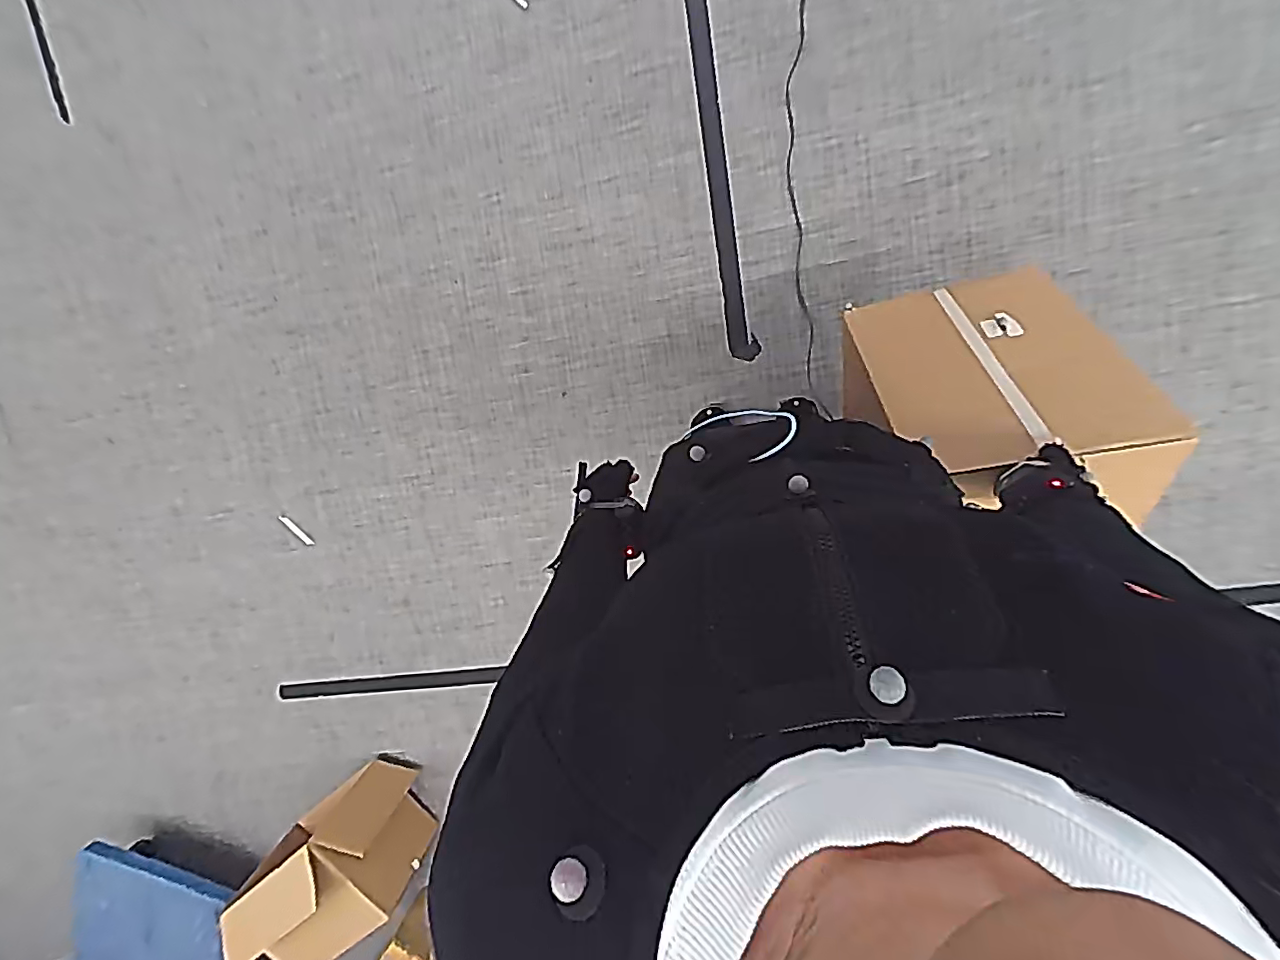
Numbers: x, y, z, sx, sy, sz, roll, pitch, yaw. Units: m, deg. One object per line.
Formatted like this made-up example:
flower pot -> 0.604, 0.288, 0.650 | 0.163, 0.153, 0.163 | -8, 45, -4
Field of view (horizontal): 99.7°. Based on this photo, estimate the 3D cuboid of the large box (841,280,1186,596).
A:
large box -> 0.548, -0.070, 0.911 | 0.320, 0.408, 0.320 | -9, 136, 11
